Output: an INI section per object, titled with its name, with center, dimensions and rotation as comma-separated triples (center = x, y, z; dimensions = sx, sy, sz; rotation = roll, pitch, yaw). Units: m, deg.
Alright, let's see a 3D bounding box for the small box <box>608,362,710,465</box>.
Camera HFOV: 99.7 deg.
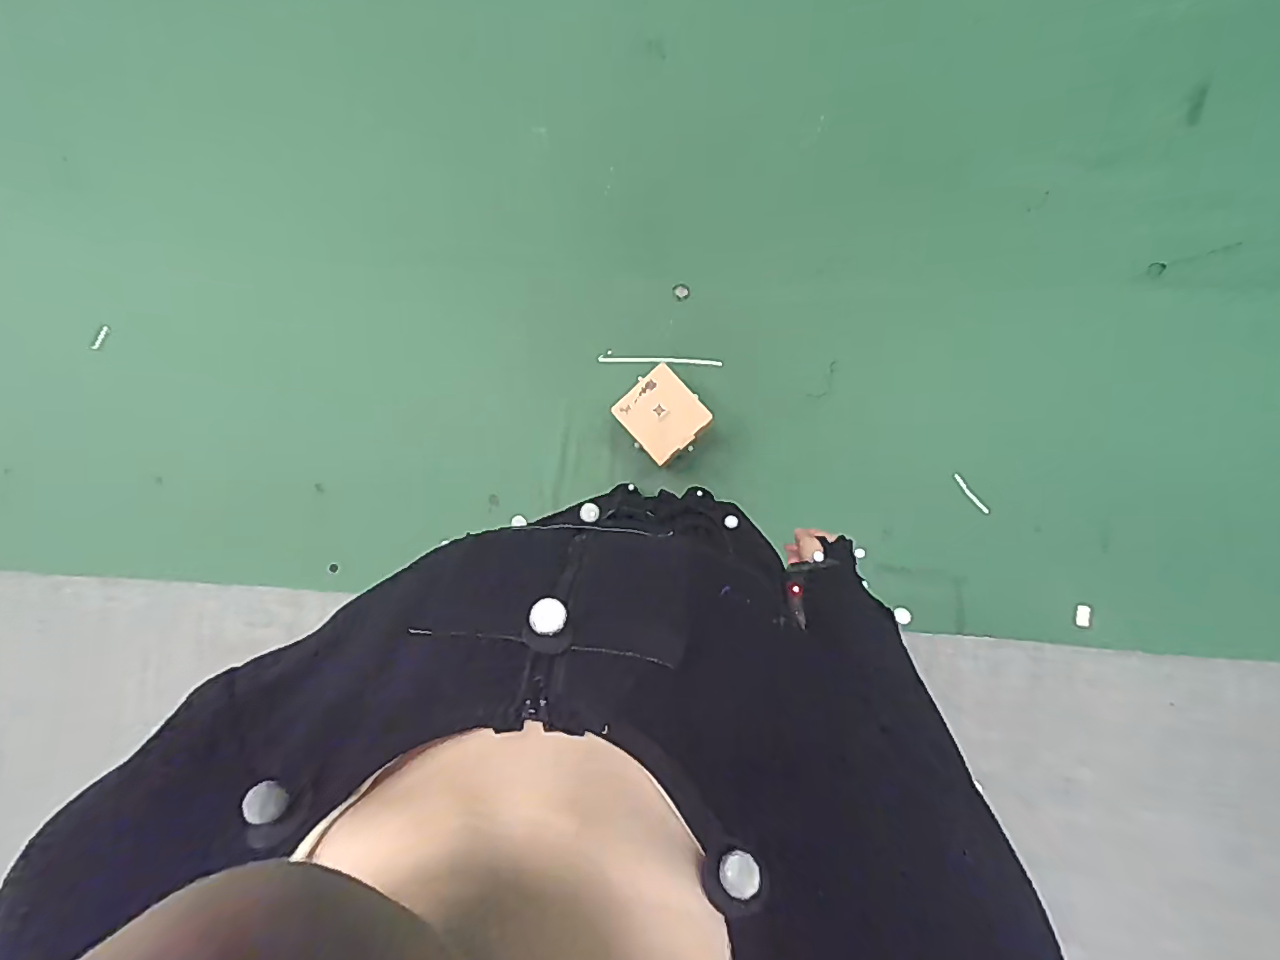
[small box]
center = 0.050, -0.152, 1.292
dimensions = 0.168, 0.176, 0.179
rotation = -42, 87, 4
